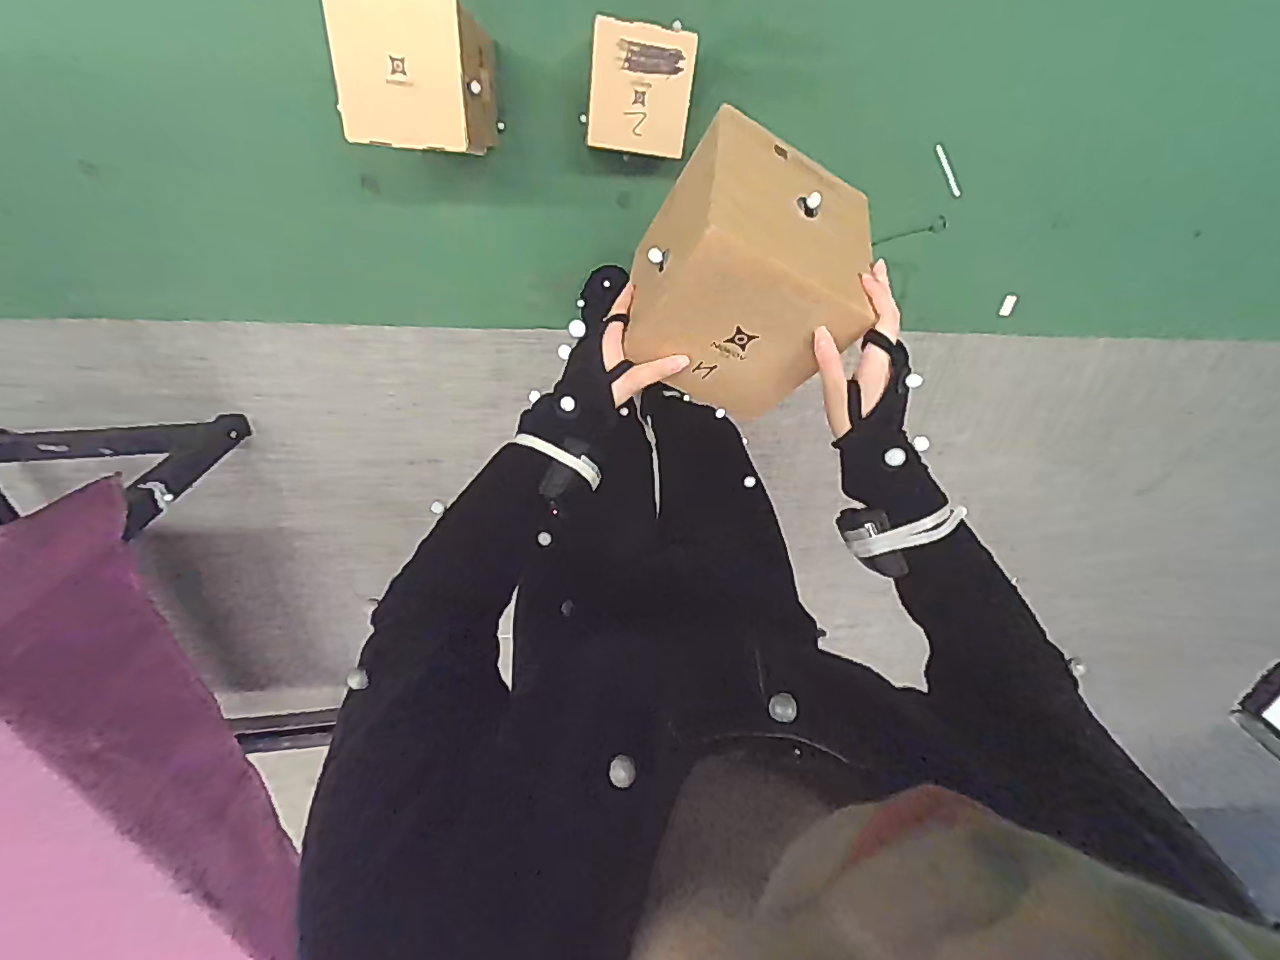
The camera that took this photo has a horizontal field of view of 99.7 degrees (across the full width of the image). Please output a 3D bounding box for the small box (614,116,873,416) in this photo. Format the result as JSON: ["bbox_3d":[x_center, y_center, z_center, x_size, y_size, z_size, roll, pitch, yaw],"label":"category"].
[{"bbox_3d":[0.092,-0.197,0.522,0.168,0.176,0.179,21,149,-19],"label":"small box"}]

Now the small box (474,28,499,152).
[{"bbox_3d":[-0.340,-0.666,0.926,0.179,0.176,0.168,2,121,-6],"label":"small box"}]

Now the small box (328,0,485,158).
[{"bbox_3d":[-0.325,-0.580,0.789,0.168,0.176,0.179,1,122,-7],"label":"small box"}]
